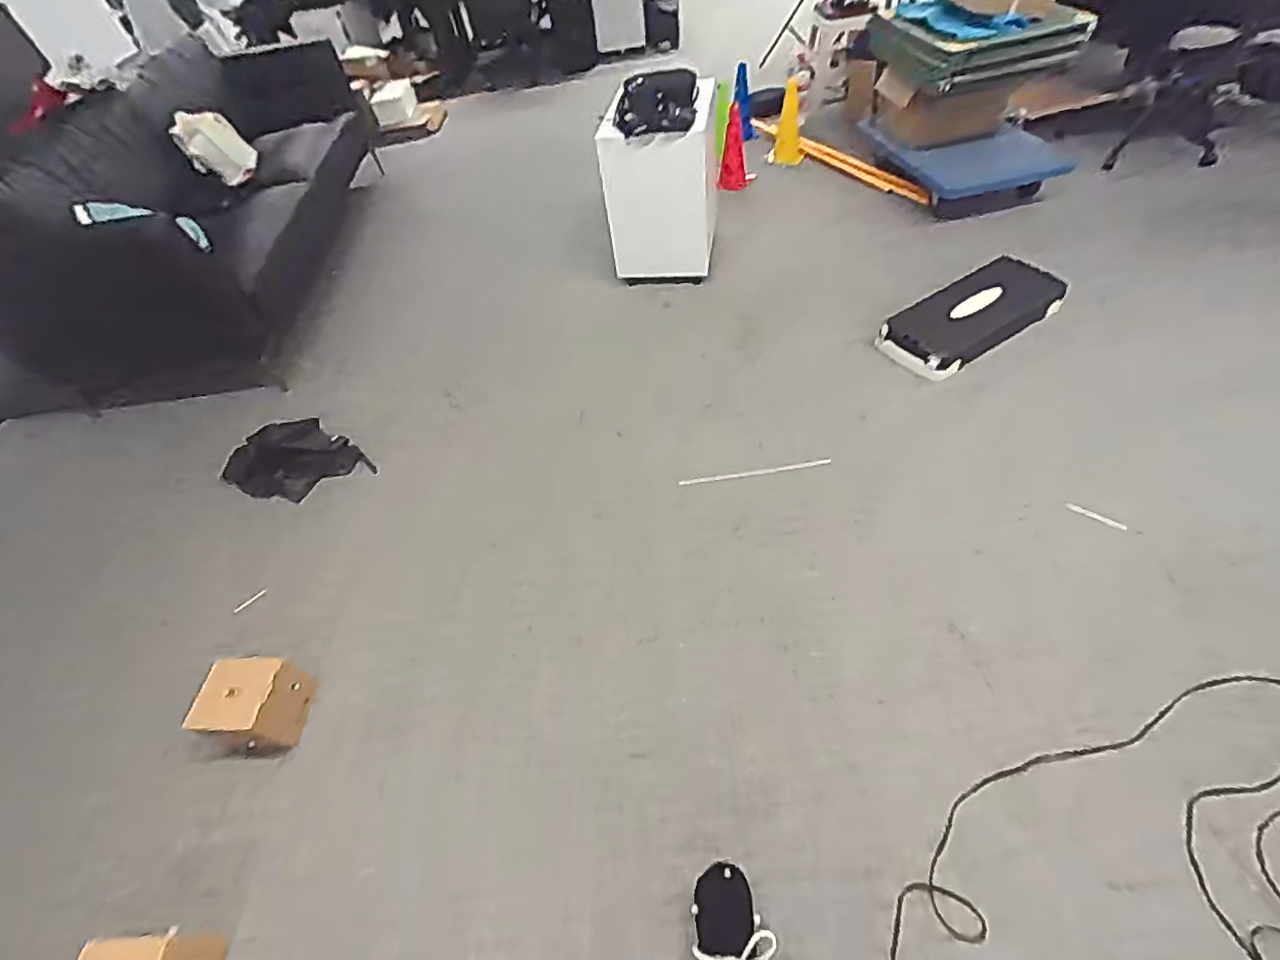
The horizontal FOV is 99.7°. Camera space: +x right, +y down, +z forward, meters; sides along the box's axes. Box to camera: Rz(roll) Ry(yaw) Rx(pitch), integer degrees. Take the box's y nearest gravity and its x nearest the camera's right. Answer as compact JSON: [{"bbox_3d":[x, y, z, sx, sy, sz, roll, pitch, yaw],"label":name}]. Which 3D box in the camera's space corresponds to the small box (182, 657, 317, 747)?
[{"bbox_3d":[-0.939,0.544,1.323,0.179,0.176,0.168,-3,50,7],"label":"small box"}]

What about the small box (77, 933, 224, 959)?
[{"bbox_3d":[-0.923,0.953,0.997,0.168,0.176,0.179,-6,52,3],"label":"small box"}]
